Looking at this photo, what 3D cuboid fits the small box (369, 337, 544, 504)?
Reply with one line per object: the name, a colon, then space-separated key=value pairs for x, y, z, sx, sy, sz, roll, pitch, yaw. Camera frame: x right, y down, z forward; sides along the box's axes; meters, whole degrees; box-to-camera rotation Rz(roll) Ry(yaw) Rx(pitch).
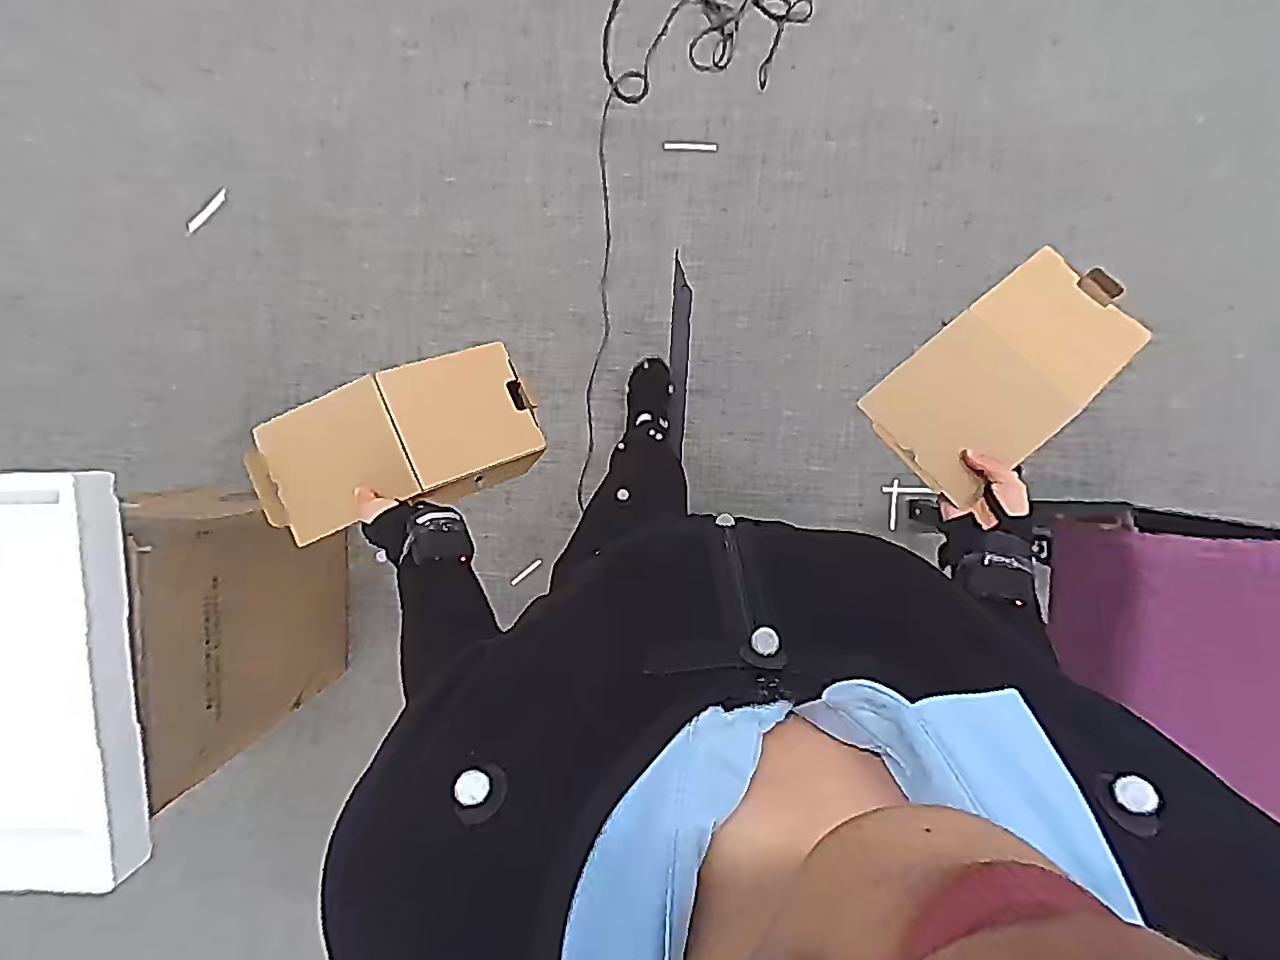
small box: x=-0.261 y=-0.077 z=0.773 sx=0.179 sy=0.176 sz=0.168 roll=-23 pitch=88 yaw=-25
